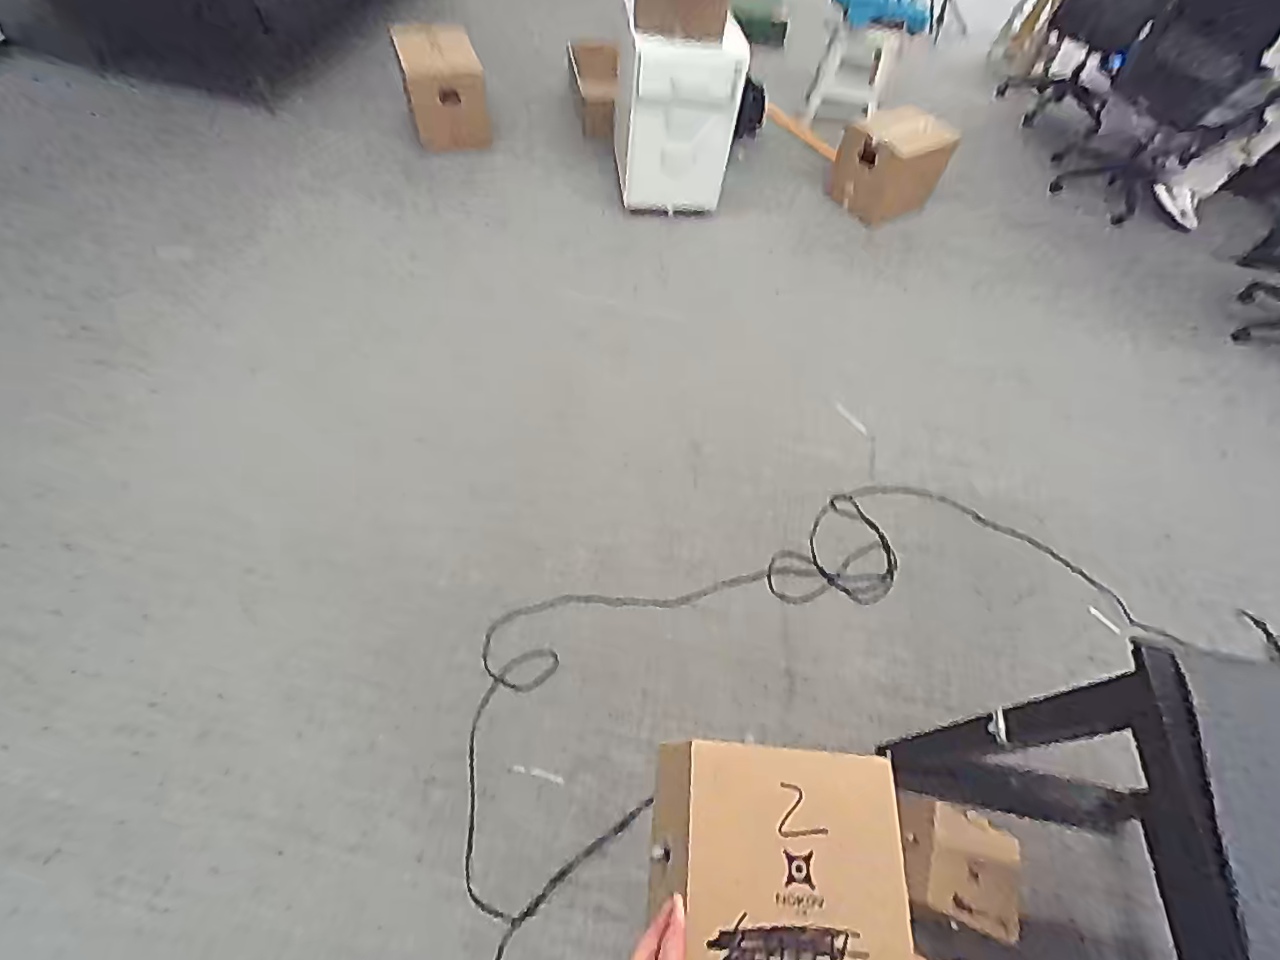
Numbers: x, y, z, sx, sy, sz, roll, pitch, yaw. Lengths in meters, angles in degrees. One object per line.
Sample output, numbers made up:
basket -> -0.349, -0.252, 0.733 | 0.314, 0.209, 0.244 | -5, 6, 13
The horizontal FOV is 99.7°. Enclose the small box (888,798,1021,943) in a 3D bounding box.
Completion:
small box -> 0.615, 0.762, 1.069 | 0.168, 0.176, 0.179 | 22, 56, 8
